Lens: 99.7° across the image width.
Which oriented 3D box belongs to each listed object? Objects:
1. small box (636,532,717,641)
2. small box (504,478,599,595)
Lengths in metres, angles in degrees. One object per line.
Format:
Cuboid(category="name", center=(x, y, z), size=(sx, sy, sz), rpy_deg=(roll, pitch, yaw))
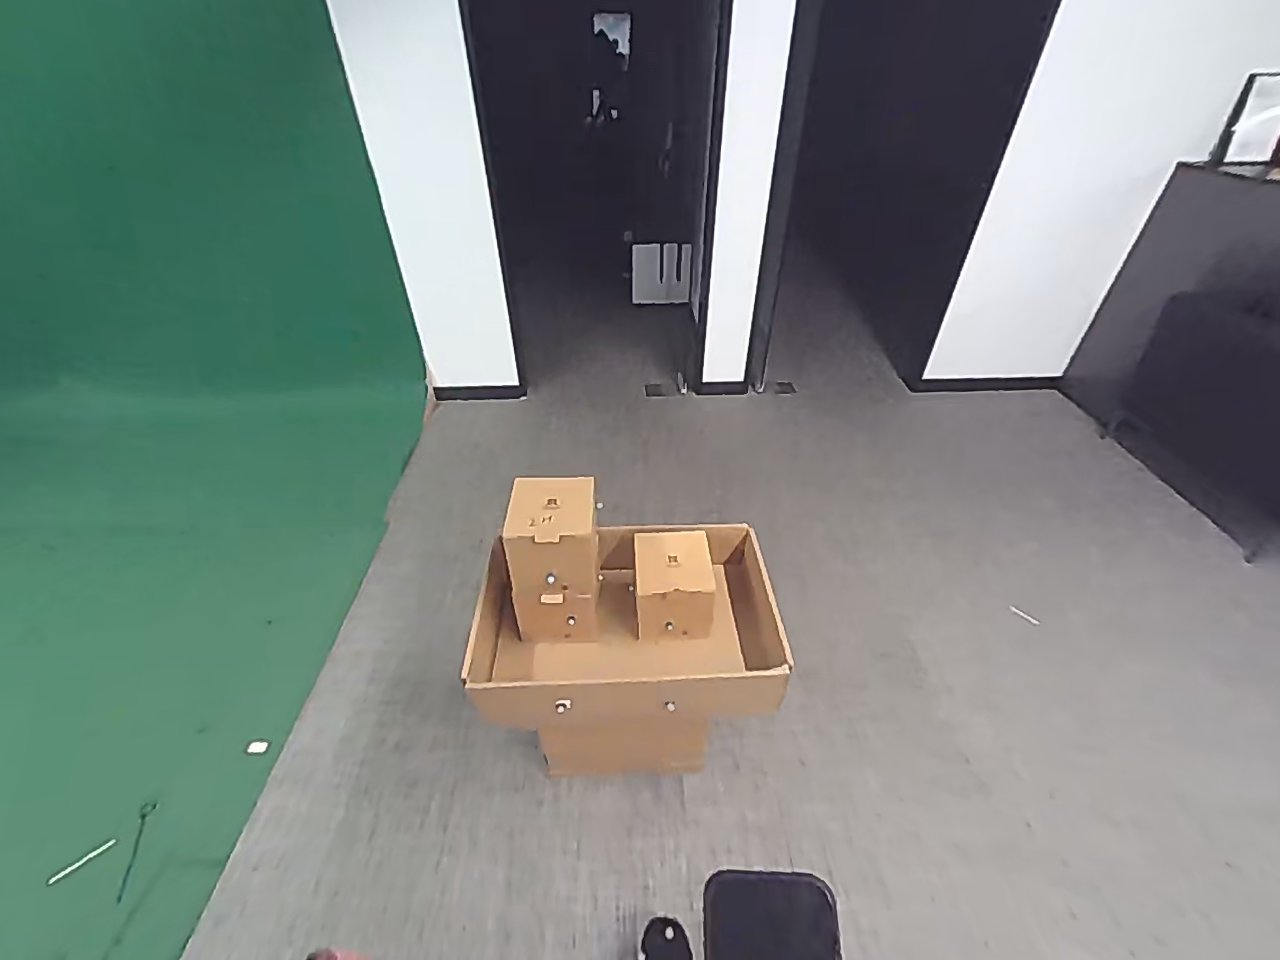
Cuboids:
Cuboid(category="small box", center=(0.075, 0.238, 1.215), size=(0.168, 0.176, 0.179), rpy_deg=(-3, 40, -1))
Cuboid(category="small box", center=(-0.172, 0.114, 1.107), size=(0.168, 0.176, 0.179), rpy_deg=(-1, 39, -2))
